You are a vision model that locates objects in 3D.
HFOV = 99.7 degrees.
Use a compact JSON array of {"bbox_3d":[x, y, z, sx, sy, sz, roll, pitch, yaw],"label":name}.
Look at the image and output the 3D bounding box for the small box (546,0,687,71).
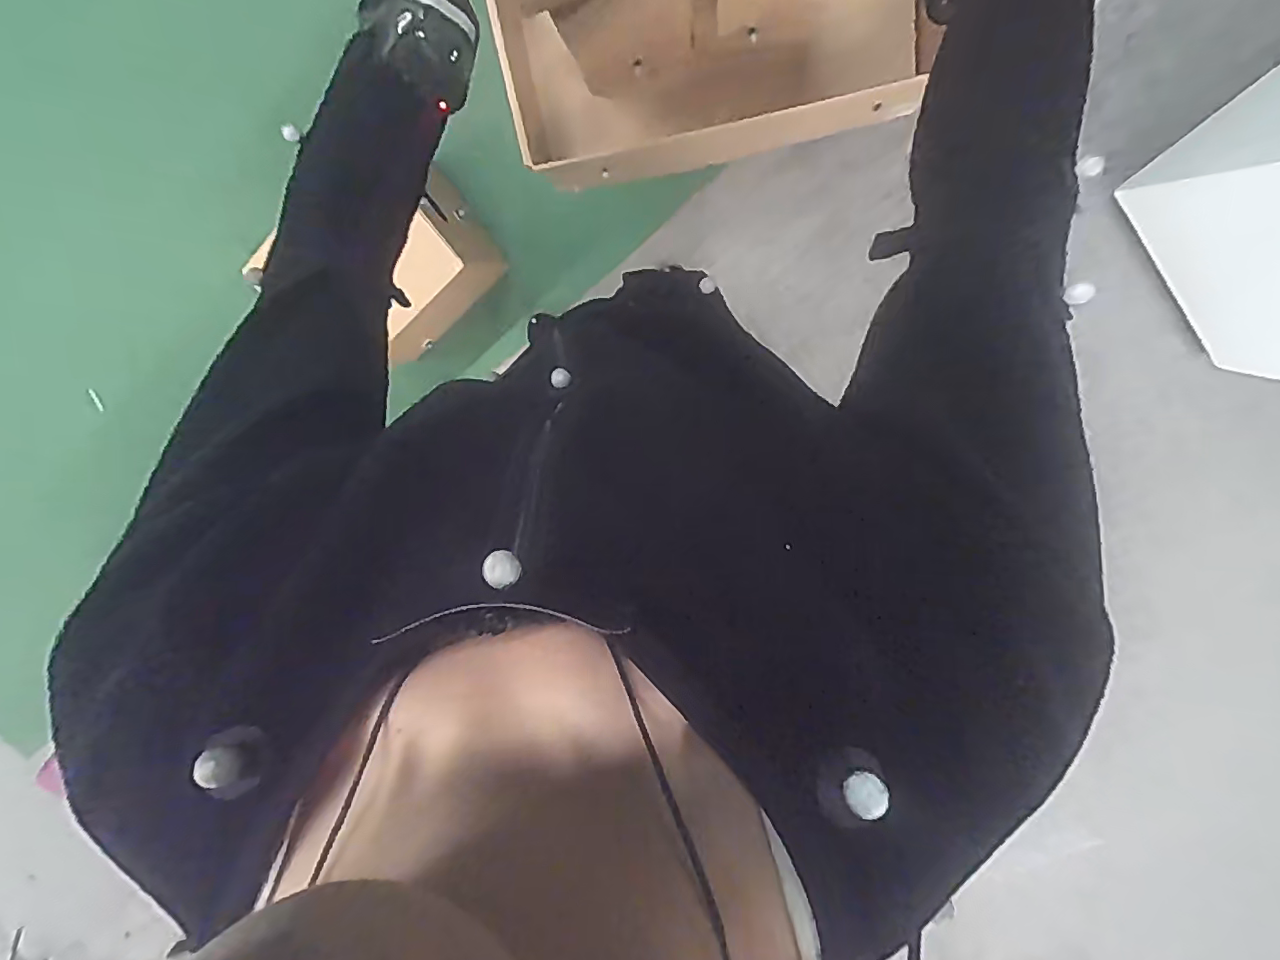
[{"bbox_3d":[-0.043,-0.616,0.608,0.179,0.176,0.168,-24,106,14],"label":"small box"}]
